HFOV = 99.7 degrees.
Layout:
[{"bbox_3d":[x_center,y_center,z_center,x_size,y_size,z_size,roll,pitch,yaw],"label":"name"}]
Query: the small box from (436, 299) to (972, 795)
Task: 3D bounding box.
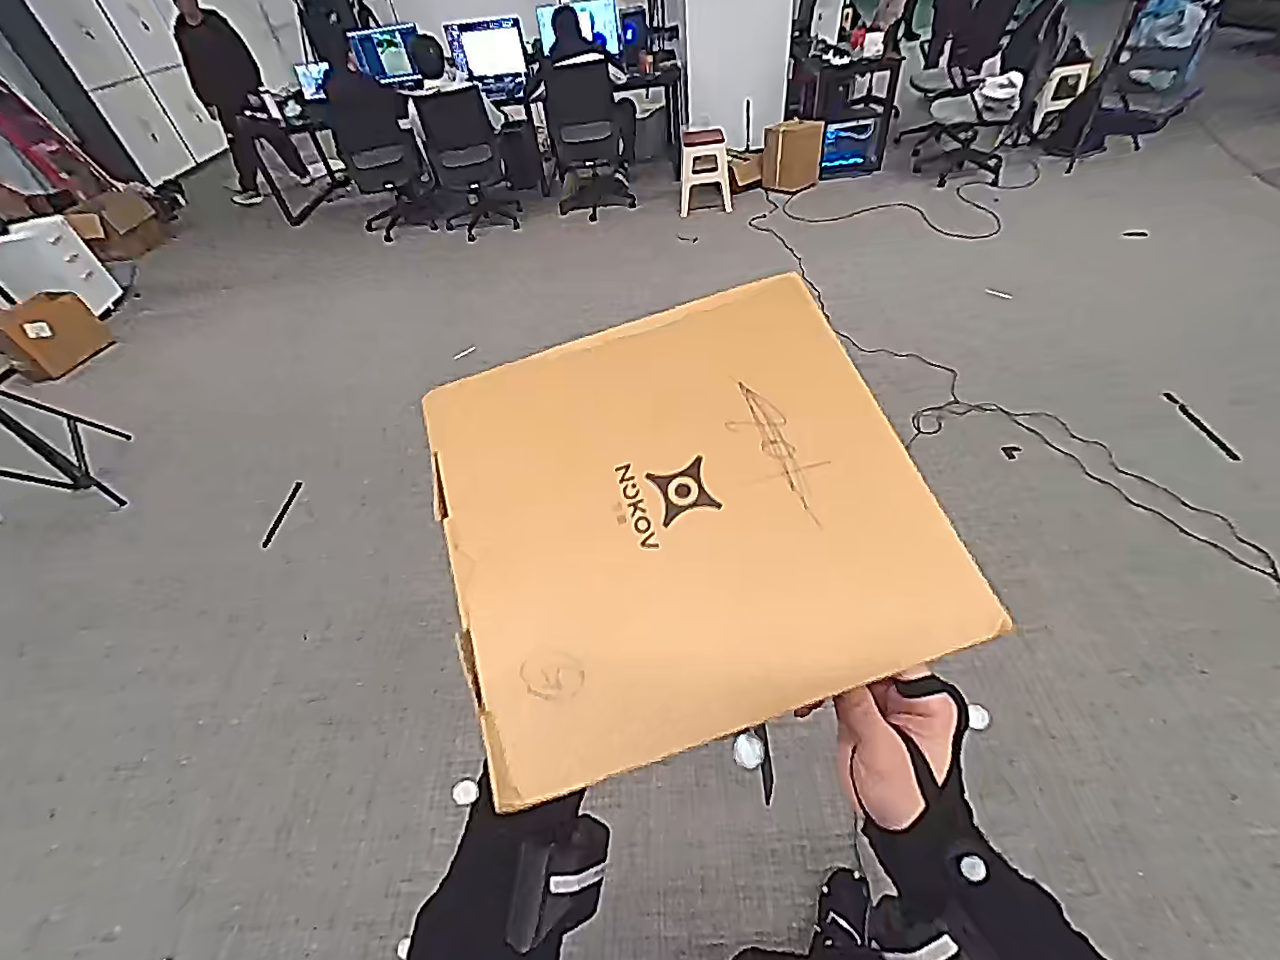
[{"bbox_3d":[0.020,0.044,0.290,0.179,0.176,0.168,-19,67,-3],"label":"small box"}]
